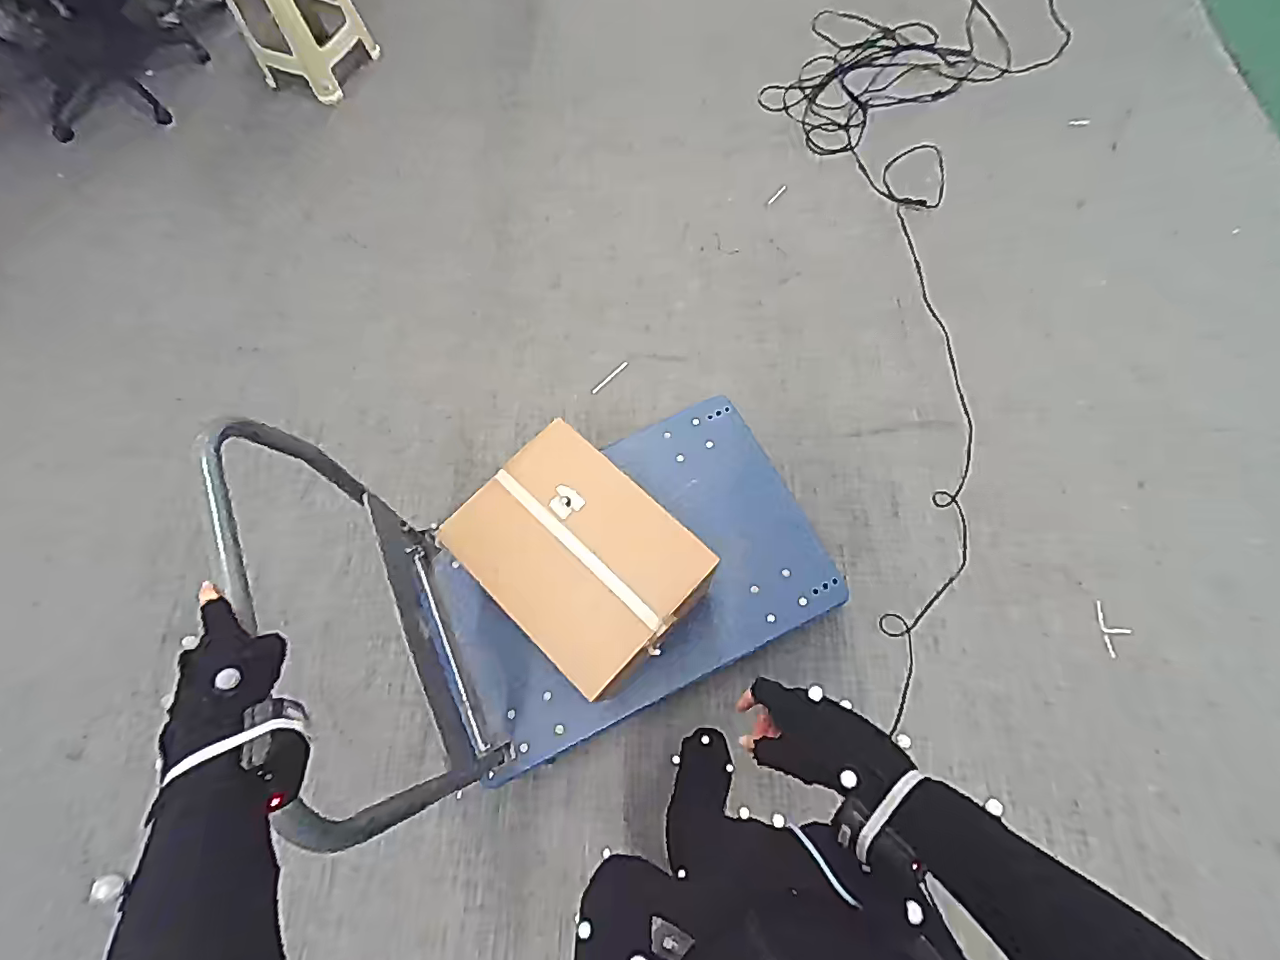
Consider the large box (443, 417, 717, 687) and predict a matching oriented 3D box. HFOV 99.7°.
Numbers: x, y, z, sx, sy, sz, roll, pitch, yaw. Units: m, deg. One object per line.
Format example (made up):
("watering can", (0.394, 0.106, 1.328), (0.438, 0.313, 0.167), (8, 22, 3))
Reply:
("large box", (-0.099, 0.157, 1.087), (0.408, 0.320, 0.320), (41, 77, 17))
